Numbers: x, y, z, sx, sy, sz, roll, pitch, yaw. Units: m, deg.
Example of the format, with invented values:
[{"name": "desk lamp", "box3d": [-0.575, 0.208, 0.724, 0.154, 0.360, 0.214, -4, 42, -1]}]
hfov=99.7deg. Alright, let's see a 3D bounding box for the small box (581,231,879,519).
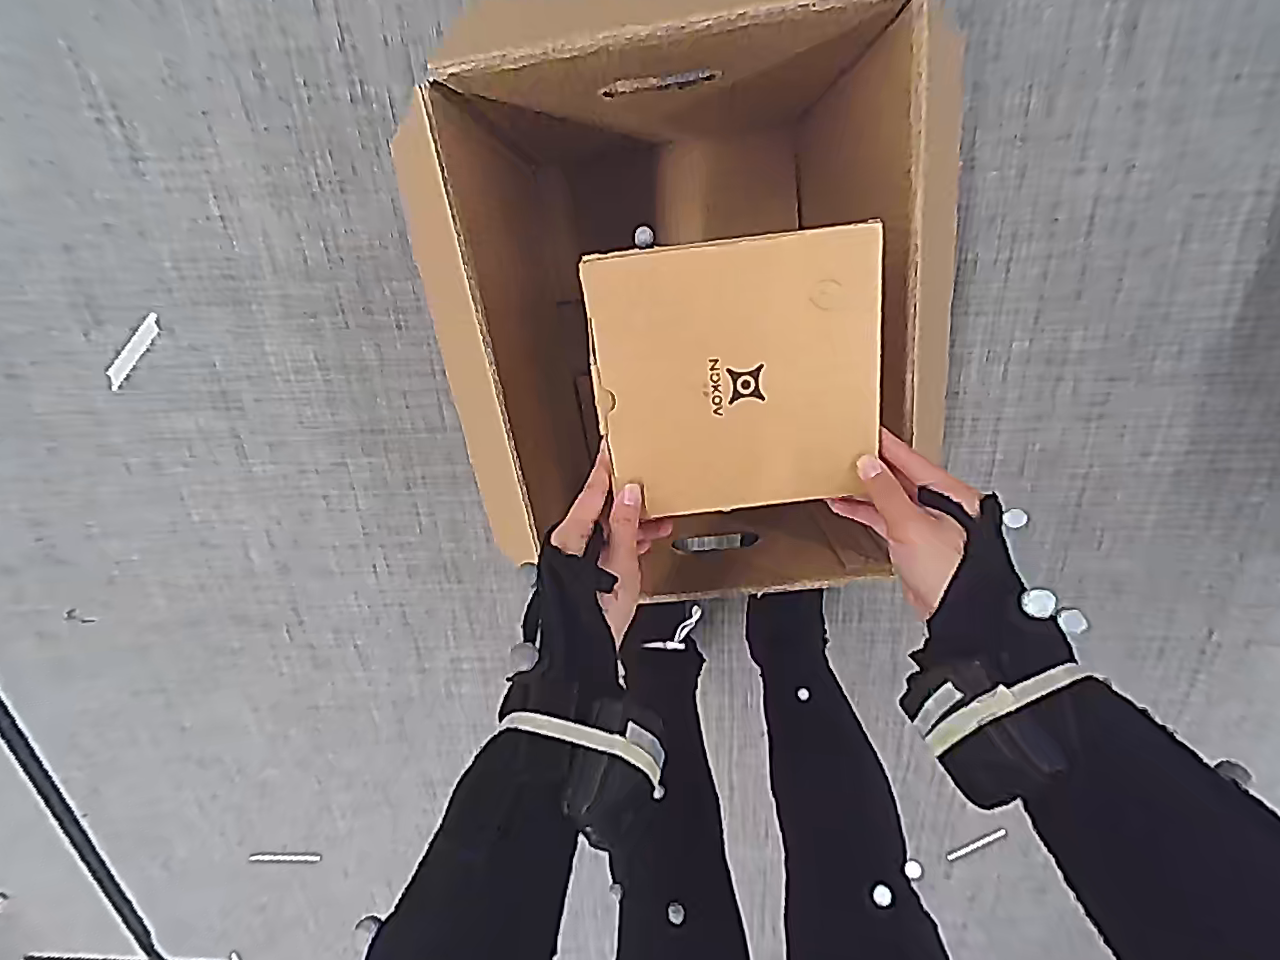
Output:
[{"name": "small box", "box3d": [0.060, -0.085, 0.412, 0.179, 0.176, 0.168, -7, 109, 3]}]
